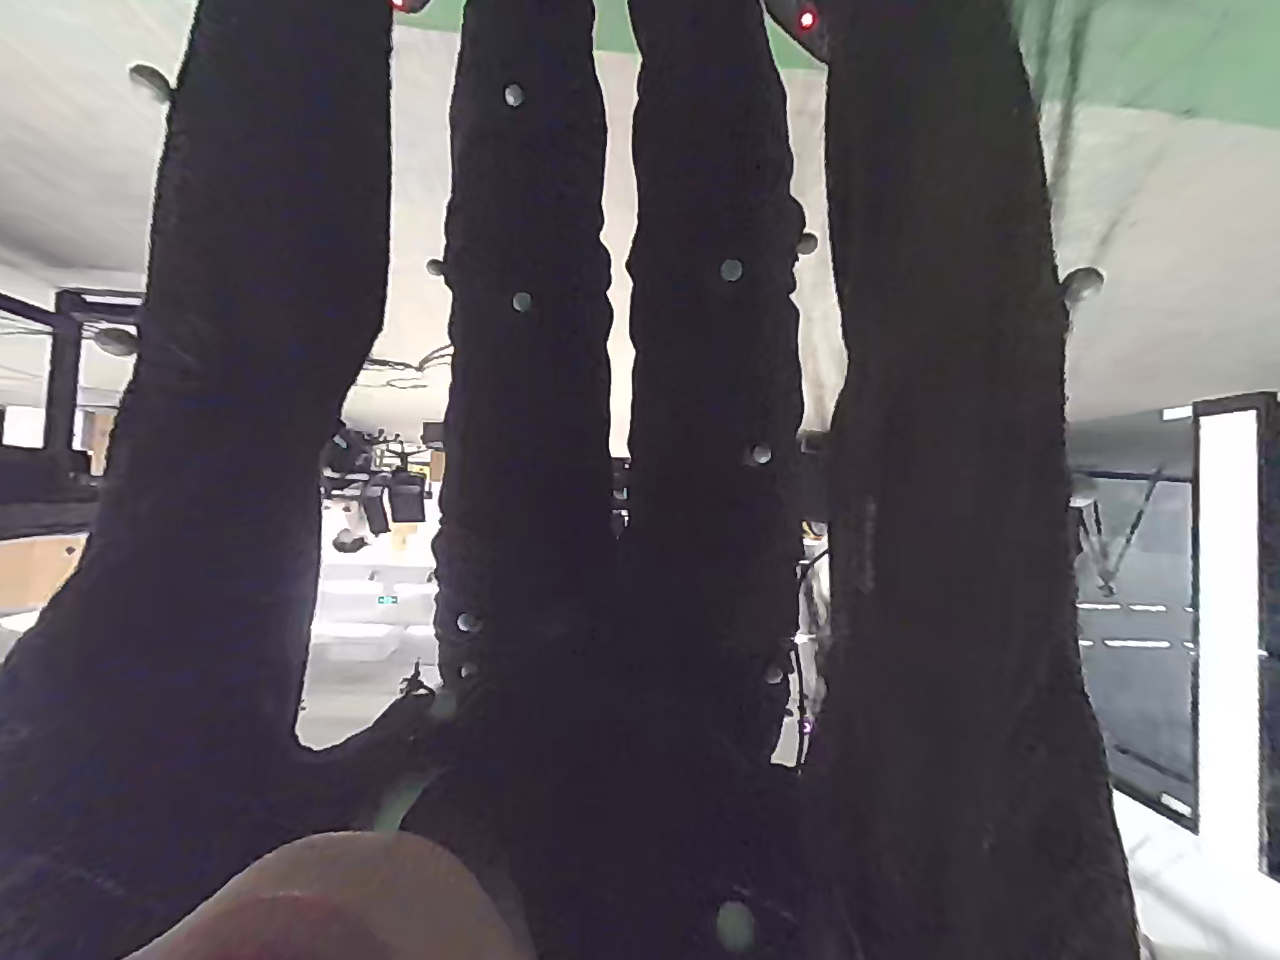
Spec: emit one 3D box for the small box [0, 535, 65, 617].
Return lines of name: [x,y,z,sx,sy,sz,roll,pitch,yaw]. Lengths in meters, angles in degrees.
small box: [-1.458,0.210,1.212,0.179,0.176,0.168,2,177,-9]
